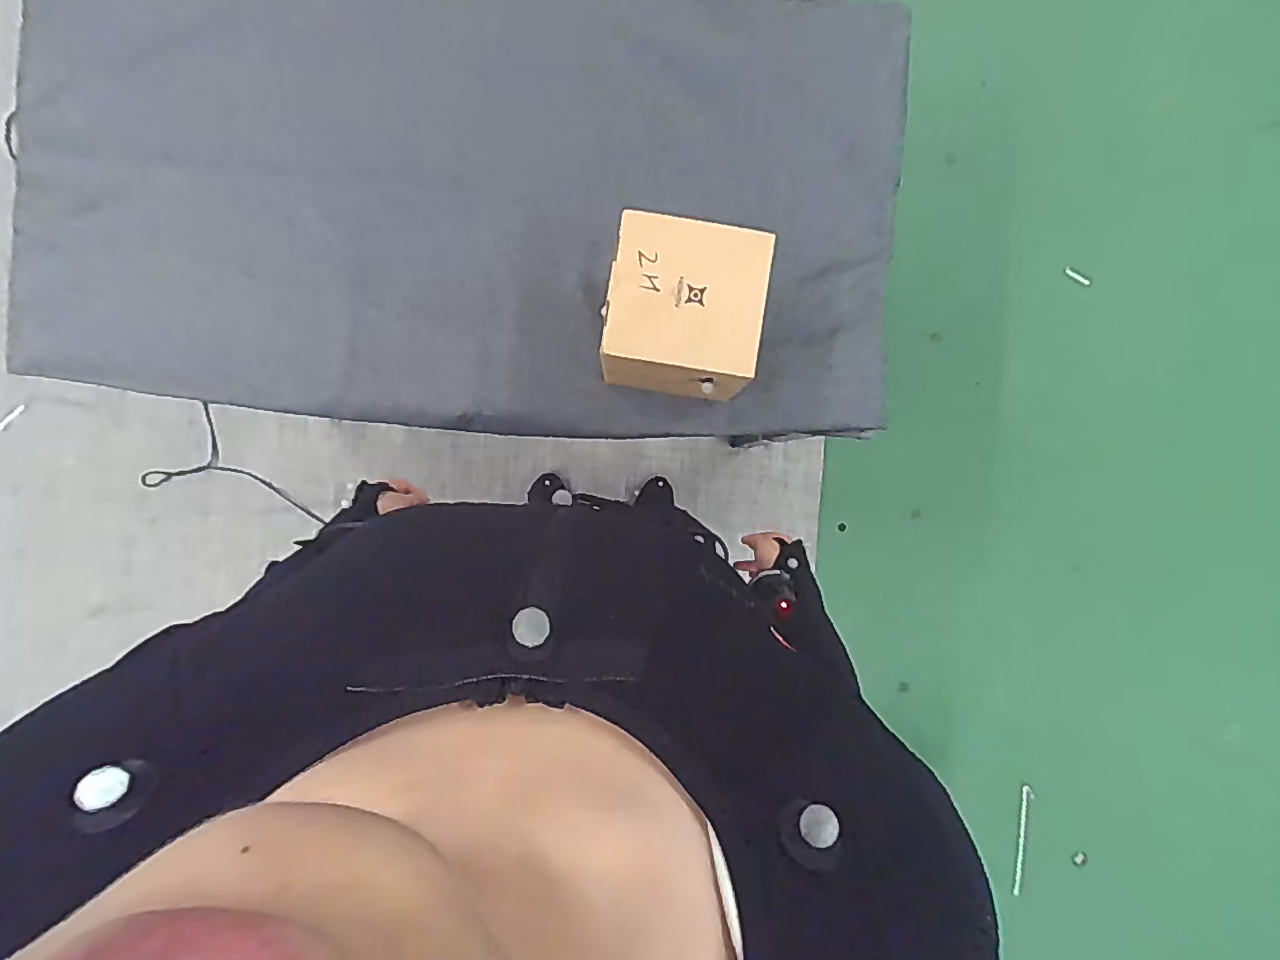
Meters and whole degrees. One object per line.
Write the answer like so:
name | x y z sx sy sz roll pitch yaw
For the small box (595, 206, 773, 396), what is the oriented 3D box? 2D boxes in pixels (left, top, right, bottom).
small box | 0.046 -0.206 0.670 0.179 0.176 0.168 9 89 -1
